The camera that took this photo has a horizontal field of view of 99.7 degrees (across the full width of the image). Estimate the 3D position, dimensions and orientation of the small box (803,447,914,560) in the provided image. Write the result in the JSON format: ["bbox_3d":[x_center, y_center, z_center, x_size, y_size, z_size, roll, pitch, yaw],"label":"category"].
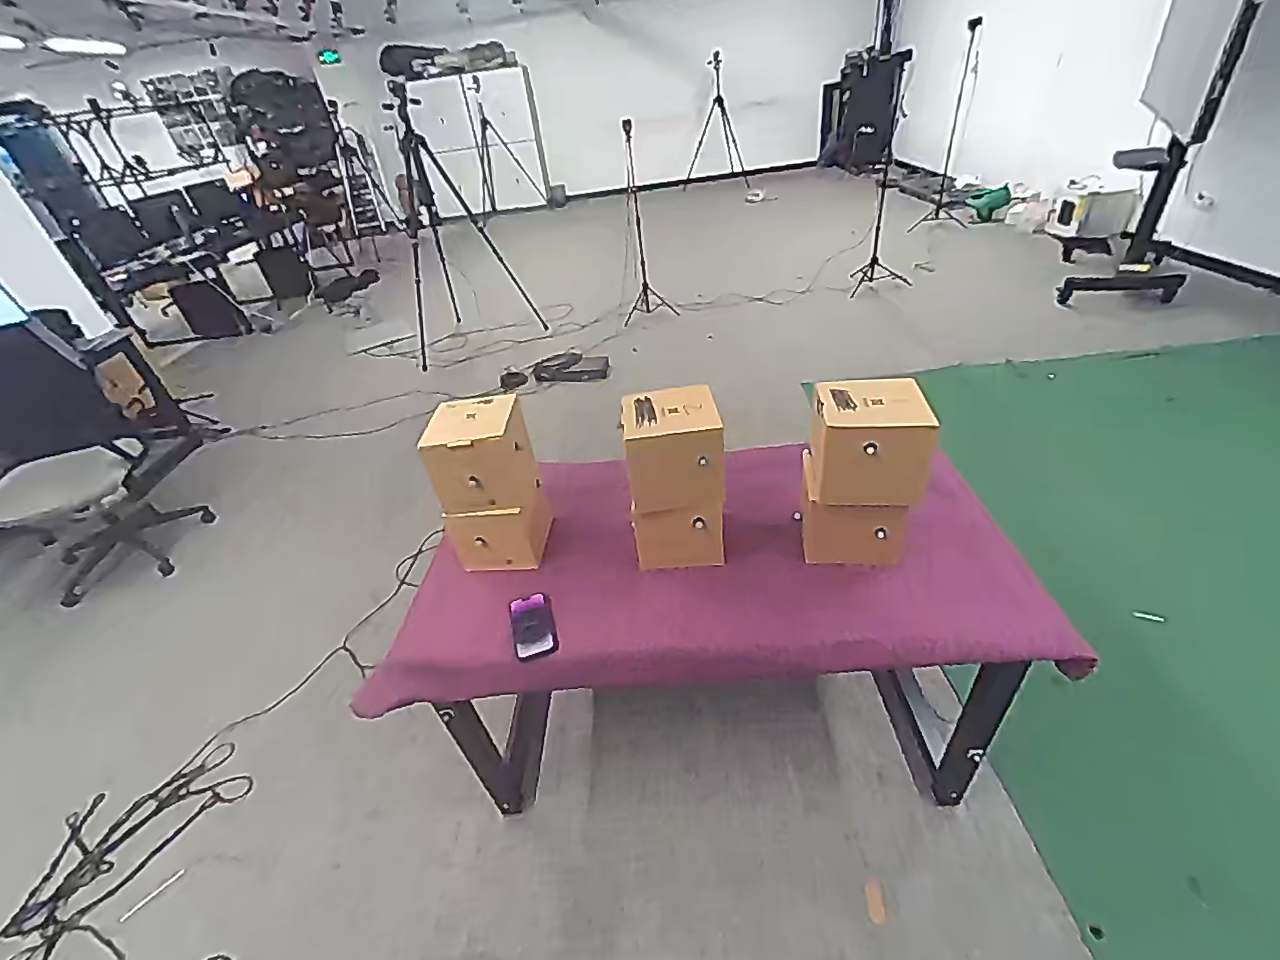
[{"bbox_3d":[0.425,0.047,1.083,0.179,0.176,0.168,-1,37,12],"label":"small box"}]

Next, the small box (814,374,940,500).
[{"bbox_3d":[0.411,-0.076,0.974,0.179,0.176,0.168,0,37,11],"label":"small box"}]

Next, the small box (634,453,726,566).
[{"bbox_3d":[0.088,0.063,1.133,0.179,0.176,0.168,-5,36,7],"label":"small box"}]

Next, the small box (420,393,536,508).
[{"bbox_3d":[-0.319,-0.054,1.106,0.168,0.176,0.179,-7,37,3],"label":"small box"}]

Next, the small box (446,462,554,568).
[{"bbox_3d":[-0.297,0.082,1.196,0.168,0.176,0.179,-4,36,7],"label":"small box"}]
